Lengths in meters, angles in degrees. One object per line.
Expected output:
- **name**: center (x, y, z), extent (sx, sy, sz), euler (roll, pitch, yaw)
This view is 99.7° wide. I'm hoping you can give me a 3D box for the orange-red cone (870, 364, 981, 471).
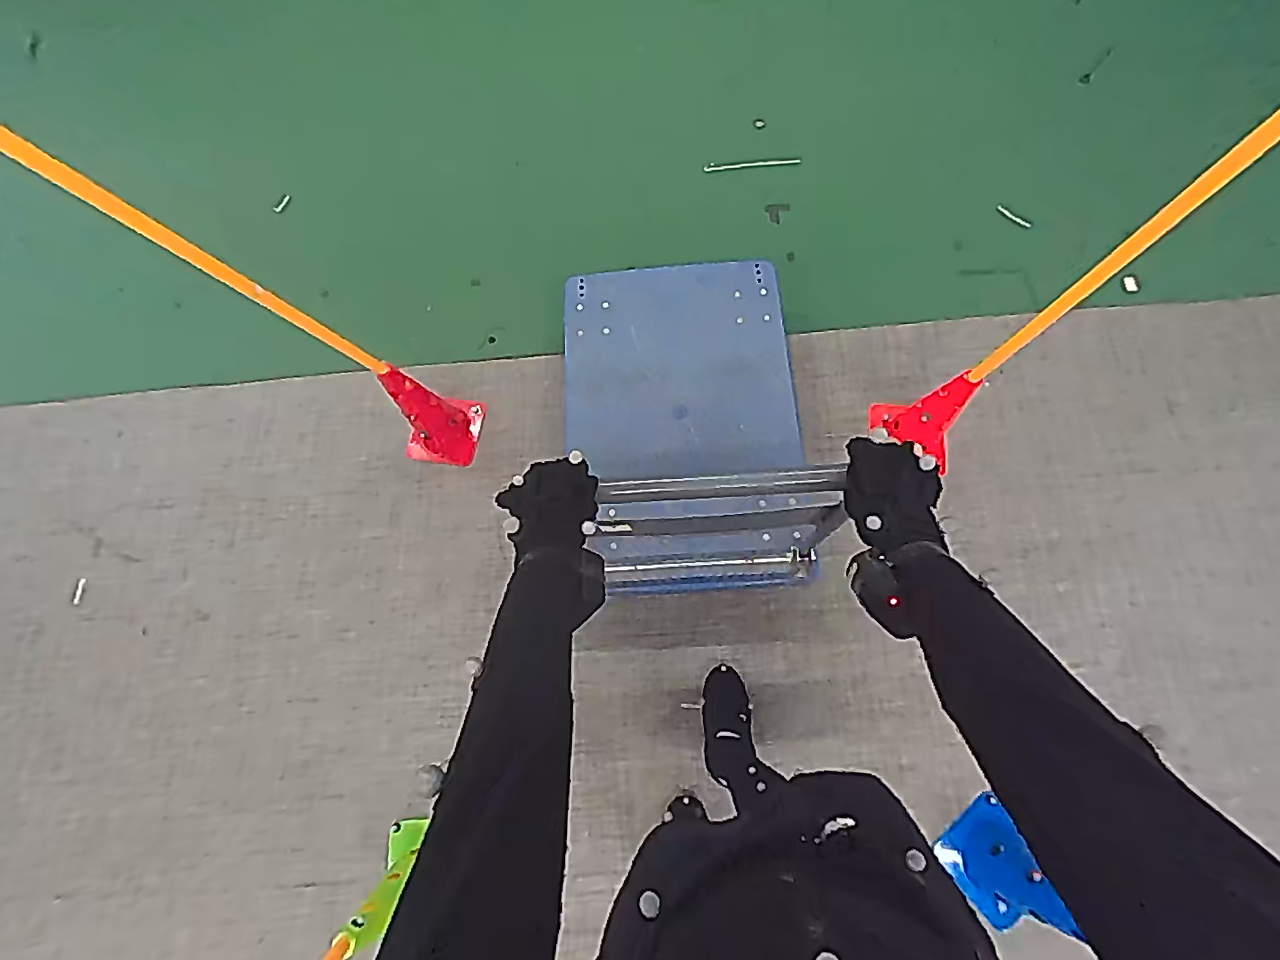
- **orange-red cone**: center (0.713, -0.175, 1.302), extent (0.198, 0.360, 0.199), euler (6, 74, 6)
